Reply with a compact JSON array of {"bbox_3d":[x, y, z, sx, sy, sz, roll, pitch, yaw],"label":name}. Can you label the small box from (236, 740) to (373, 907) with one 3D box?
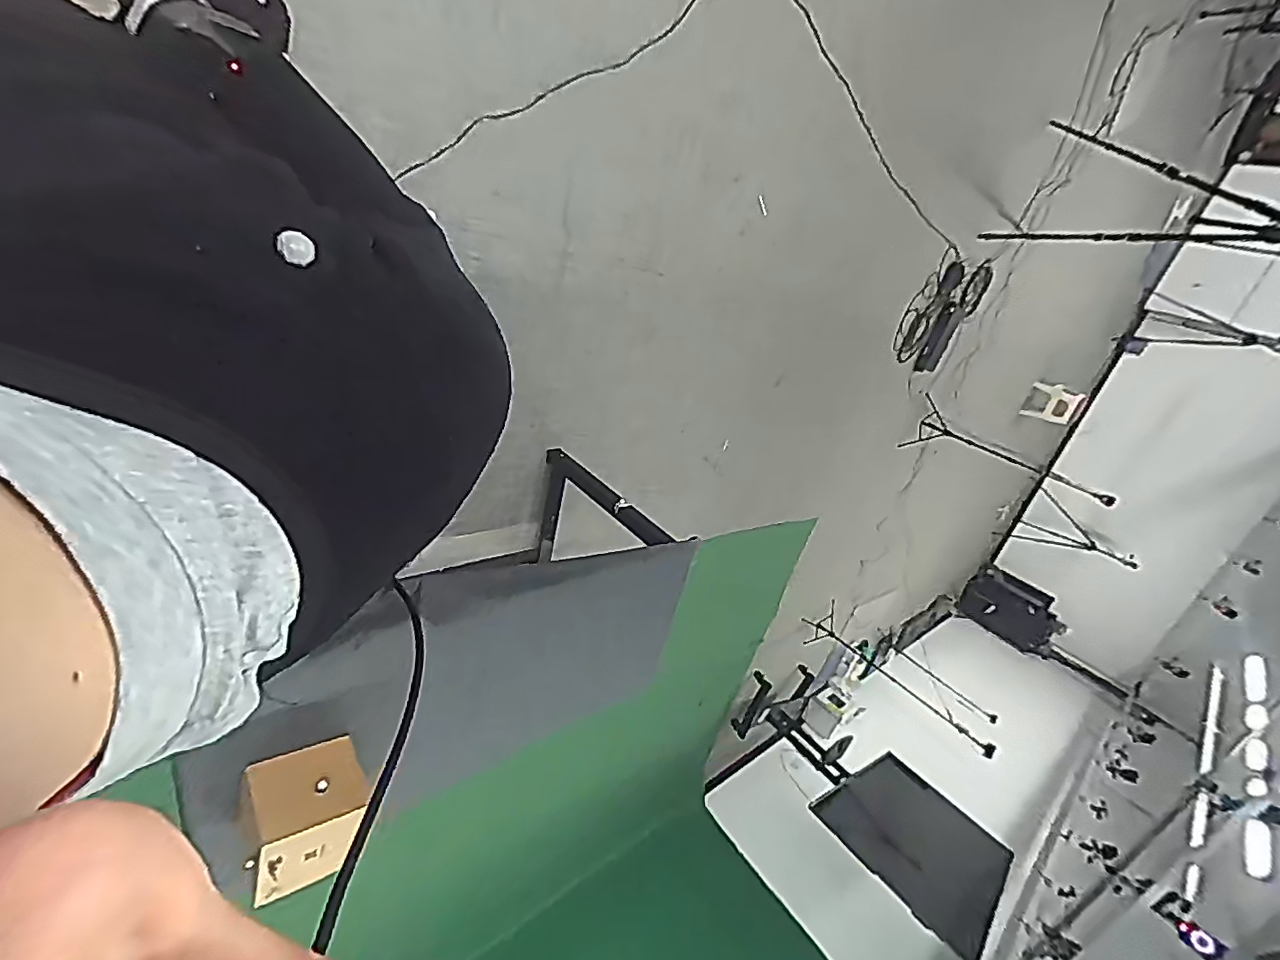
[{"bbox_3d":[-0.634,0.630,1.018,0.179,0.176,0.168,-1,118,-45],"label":"small box"}]
